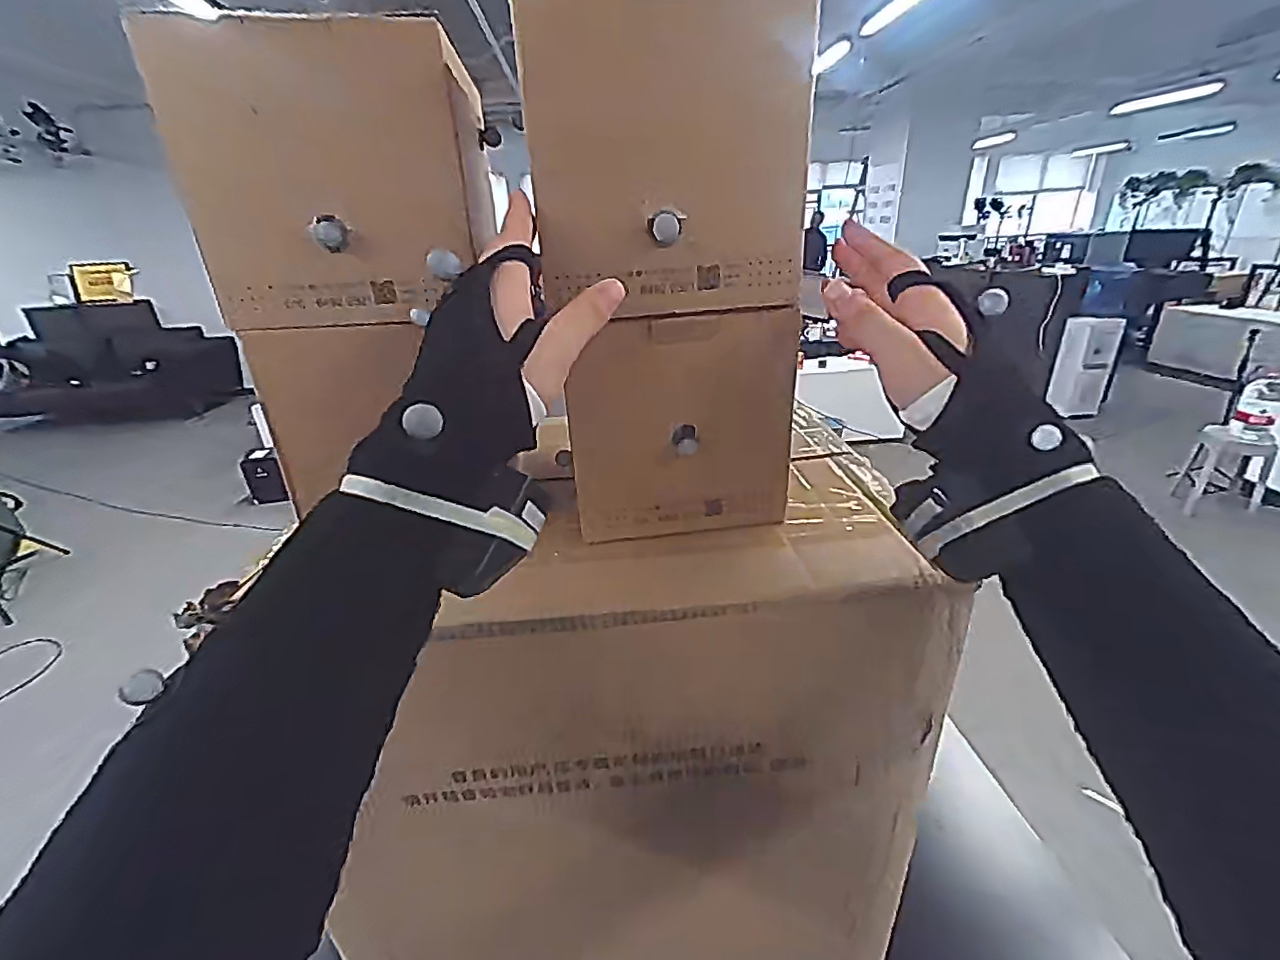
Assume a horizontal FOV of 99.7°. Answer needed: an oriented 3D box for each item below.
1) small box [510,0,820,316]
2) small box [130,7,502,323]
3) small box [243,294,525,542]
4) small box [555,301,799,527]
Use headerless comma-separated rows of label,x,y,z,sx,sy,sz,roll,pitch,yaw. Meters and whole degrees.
small box,0.010,-0.215,0.385,0.168,0.176,0.179,-6,26,-4
small box,-0.202,-0.214,0.404,0.168,0.176,0.179,-5,25,-6
small box,-0.195,-0.064,0.474,0.168,0.176,0.179,-6,26,-8
small box,0.020,-0.069,0.460,0.168,0.176,0.179,-5,26,-6
